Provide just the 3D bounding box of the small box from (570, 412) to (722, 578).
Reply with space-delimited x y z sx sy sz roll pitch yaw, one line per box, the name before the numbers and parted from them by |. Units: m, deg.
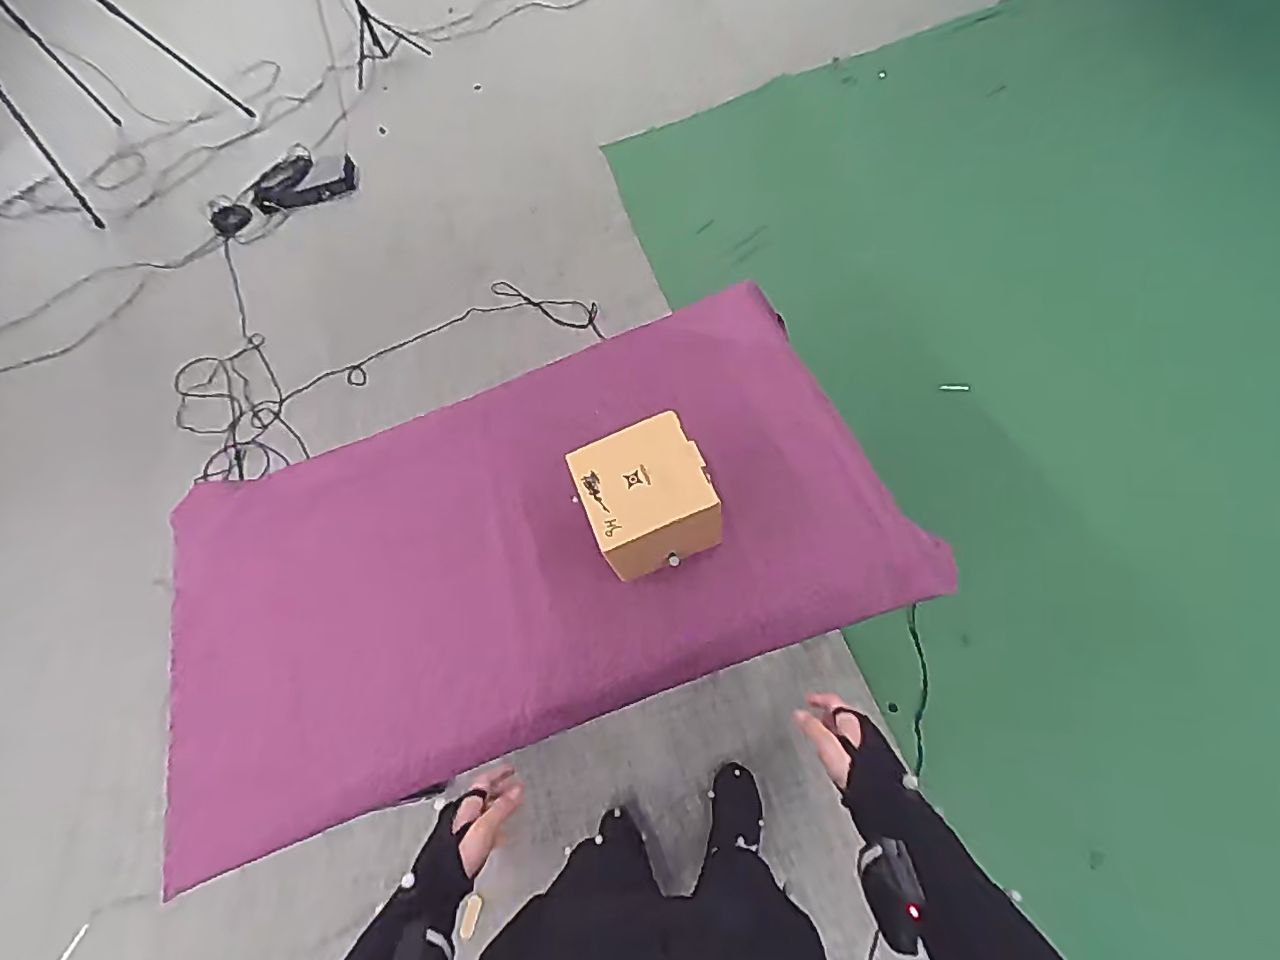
small box | 0.015 0.030 0.834 0.179 0.176 0.168 -23 63 -1
